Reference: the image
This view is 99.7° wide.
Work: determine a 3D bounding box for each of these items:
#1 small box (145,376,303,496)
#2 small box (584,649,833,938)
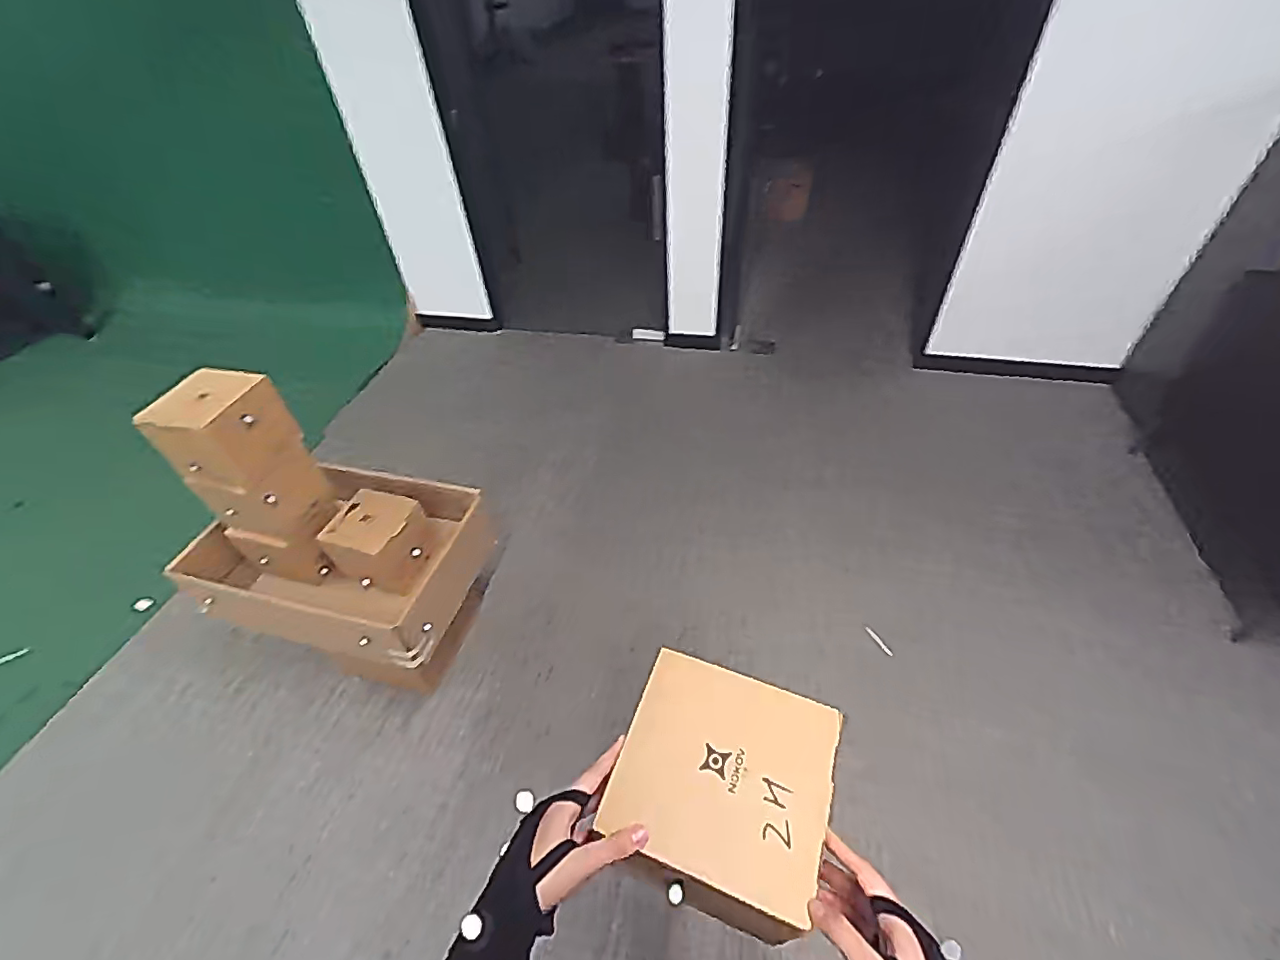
[{"bbox_3d":[-0.851,-0.094,1.133,0.168,0.176,0.179,8,46,12],"label":"small box"},{"bbox_3d":[0.065,0.296,0.511,0.179,0.176,0.168,15,48,15],"label":"small box"}]
